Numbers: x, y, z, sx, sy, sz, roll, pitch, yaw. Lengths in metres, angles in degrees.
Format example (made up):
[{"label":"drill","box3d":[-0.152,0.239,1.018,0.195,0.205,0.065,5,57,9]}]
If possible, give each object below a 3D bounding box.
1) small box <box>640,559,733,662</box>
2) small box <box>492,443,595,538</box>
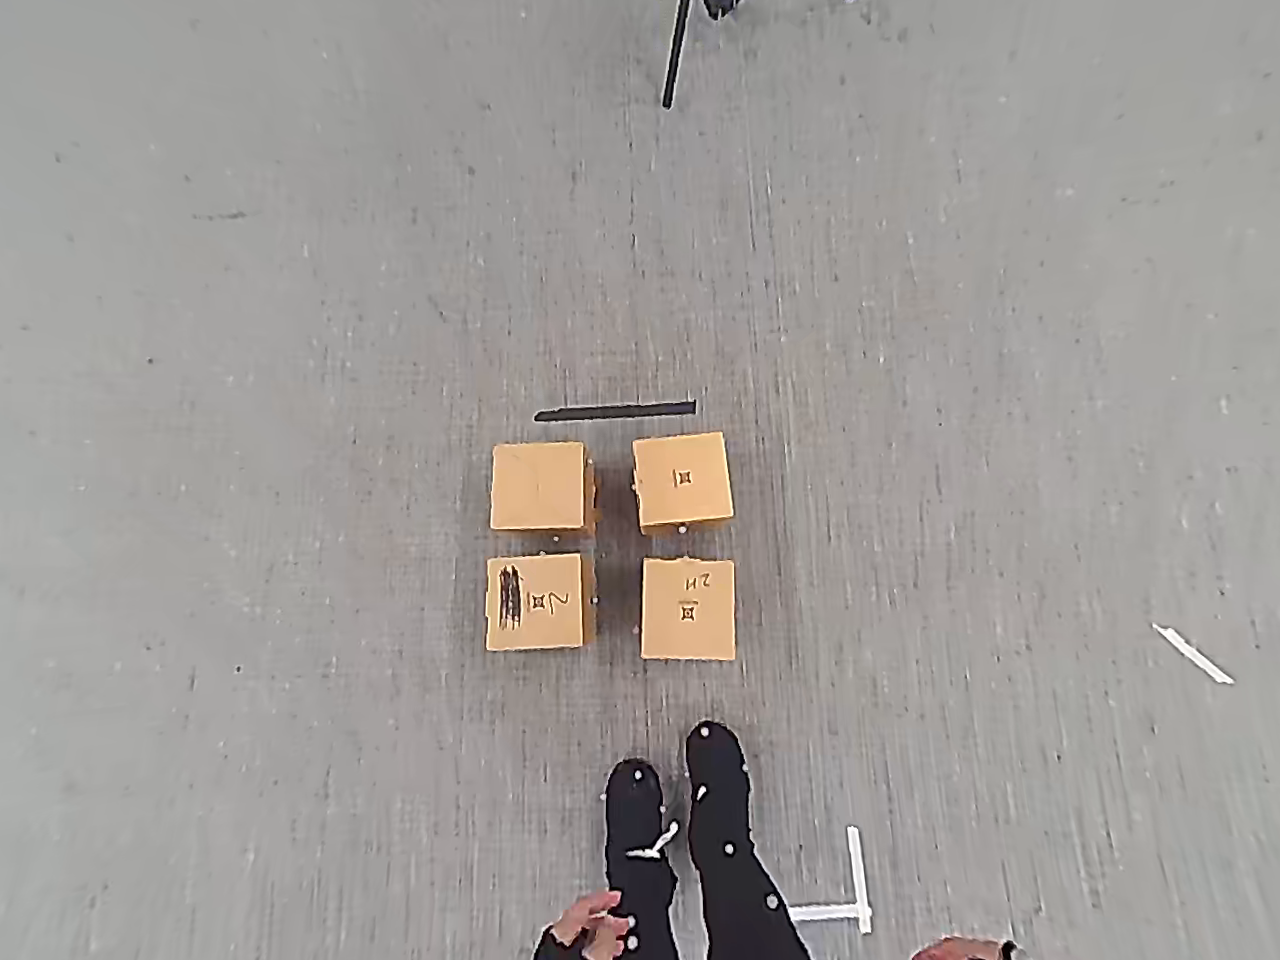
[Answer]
[{"label":"small box","box3d":[0.088,0.246,1.041,0.168,0.176,0.179,1,78,2]},{"label":"small box","box3d":[-0.188,0.027,1.097,0.179,0.176,0.168,-1,78,2]}]
